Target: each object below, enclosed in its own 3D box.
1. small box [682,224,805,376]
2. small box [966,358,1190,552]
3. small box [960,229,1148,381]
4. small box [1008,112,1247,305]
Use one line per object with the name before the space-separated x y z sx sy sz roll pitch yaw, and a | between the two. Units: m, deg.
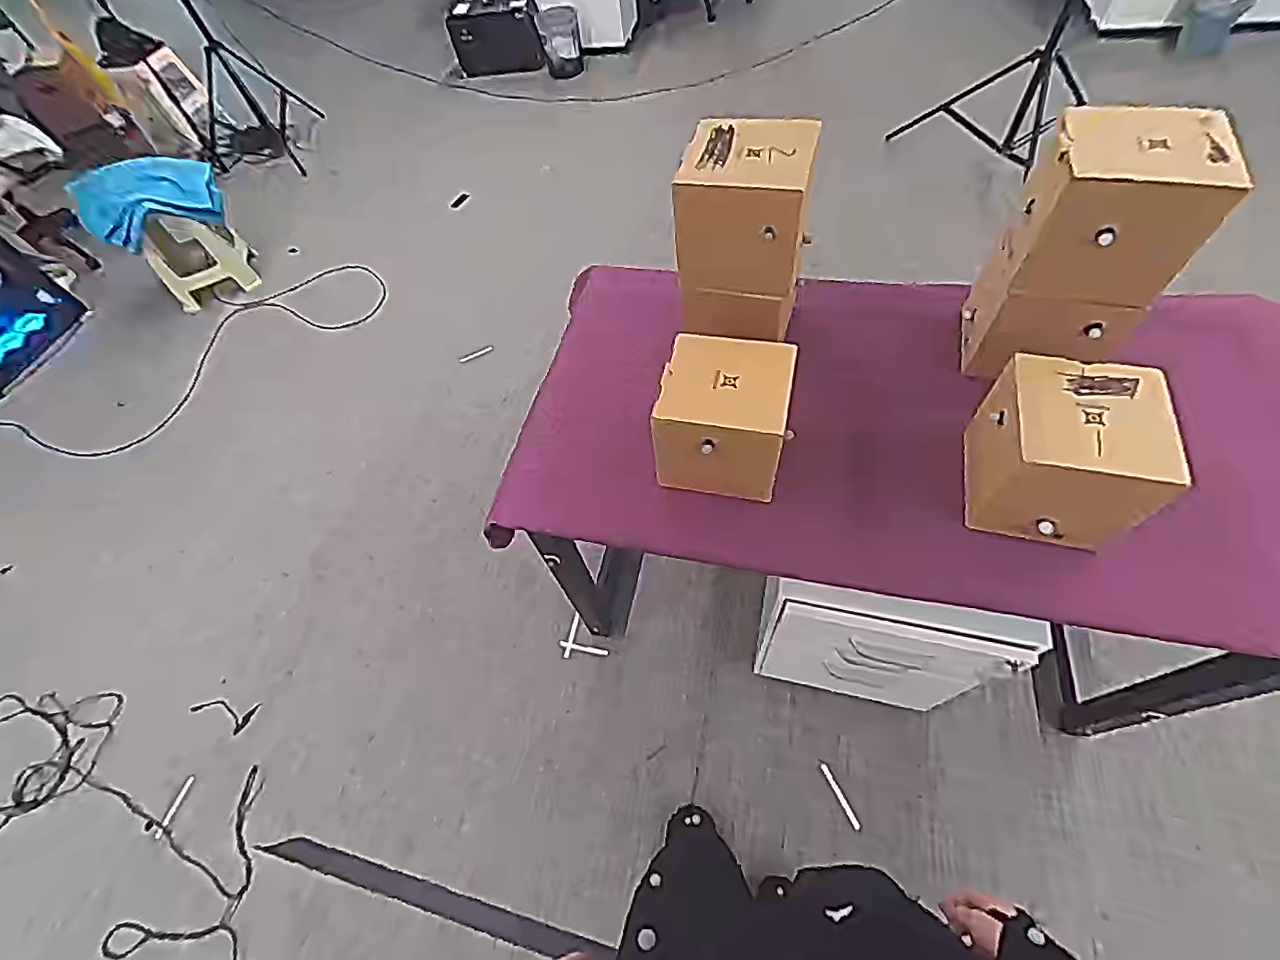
small box | 0.179 -0.311 0.941 0.168 0.176 0.179 12 62 16
small box | 0.548 -0.031 0.710 0.168 0.176 0.179 10 59 15
small box | 0.632 -0.264 0.849 0.179 0.176 0.168 11 60 15
small box | 0.612 -0.353 0.712 0.179 0.176 0.168 12 61 16
